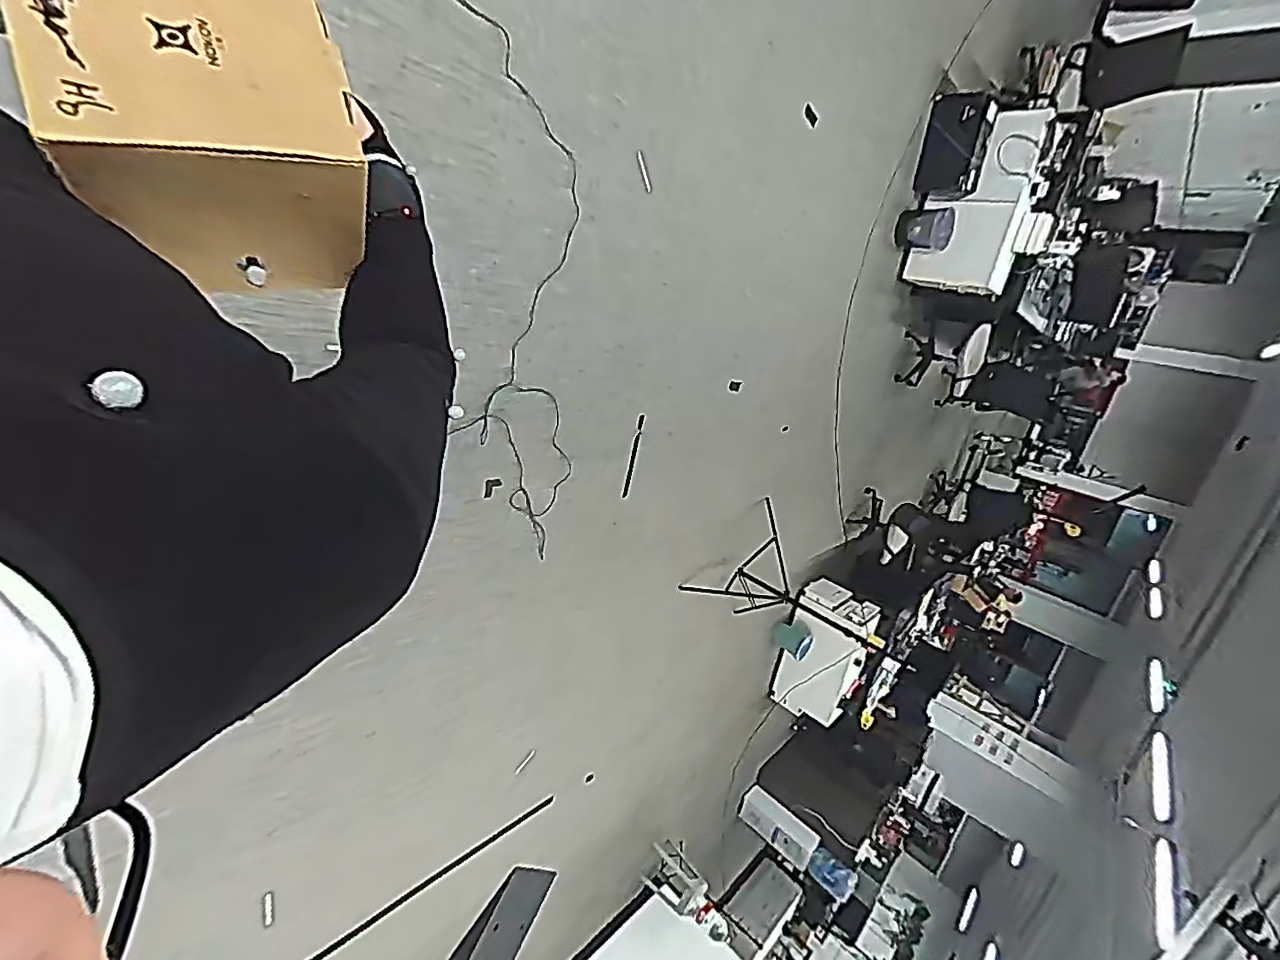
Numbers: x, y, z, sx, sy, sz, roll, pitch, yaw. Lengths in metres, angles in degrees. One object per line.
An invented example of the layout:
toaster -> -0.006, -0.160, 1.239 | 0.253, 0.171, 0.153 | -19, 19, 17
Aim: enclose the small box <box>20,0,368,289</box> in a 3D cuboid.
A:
small box -> -0.340, -0.272, 0.440 | 0.179, 0.176, 0.168 | -15, 83, -32
